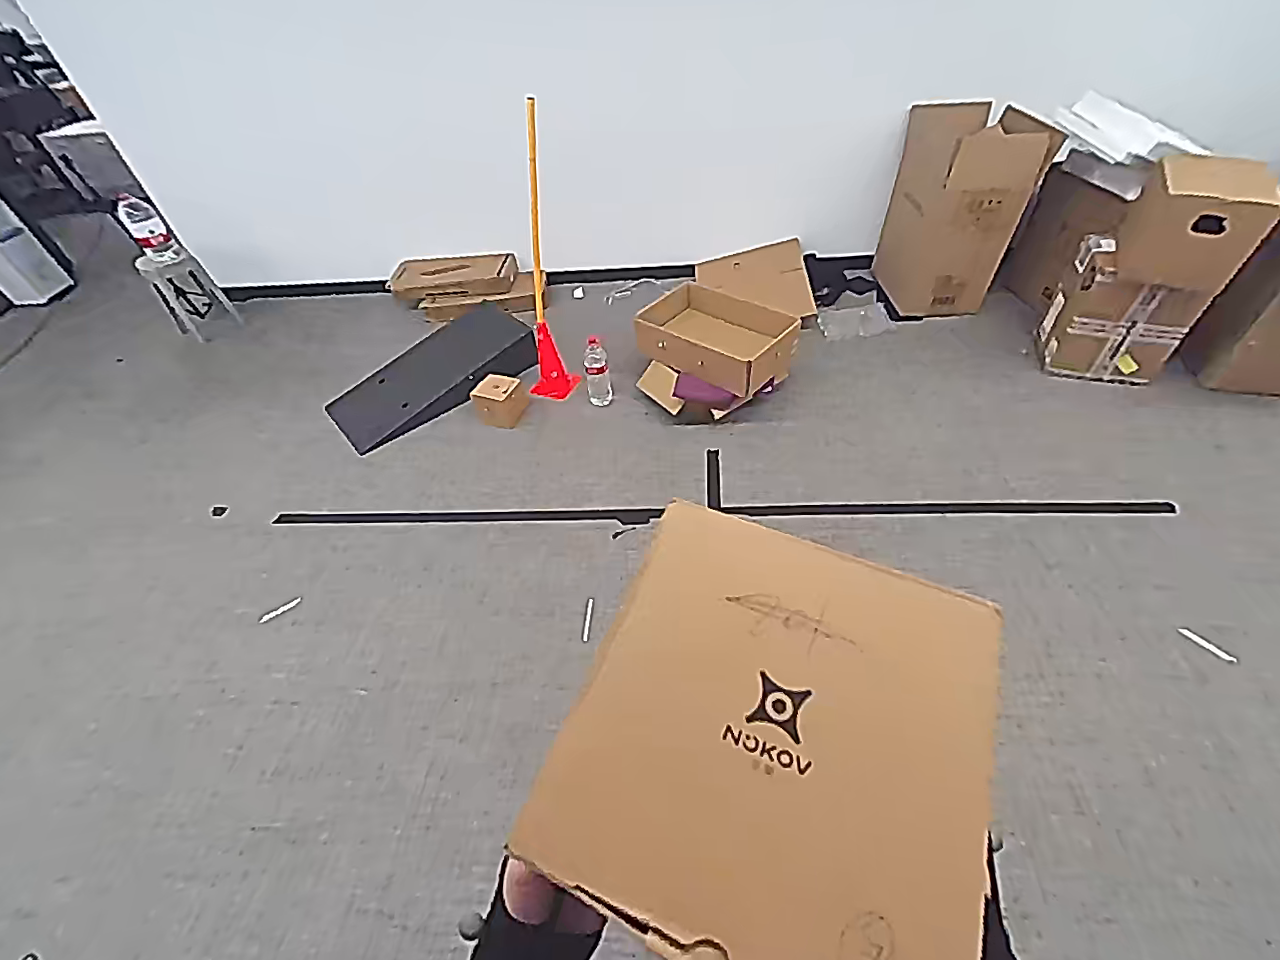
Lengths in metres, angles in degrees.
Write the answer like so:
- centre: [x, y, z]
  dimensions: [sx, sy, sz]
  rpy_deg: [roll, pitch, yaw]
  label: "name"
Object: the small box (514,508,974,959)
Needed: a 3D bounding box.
- centre: [0.058, 0.151, 0.305]
  dimensions: [0.168, 0.176, 0.179]
  rpy_deg: [18, 56, 14]
  label: "small box"
